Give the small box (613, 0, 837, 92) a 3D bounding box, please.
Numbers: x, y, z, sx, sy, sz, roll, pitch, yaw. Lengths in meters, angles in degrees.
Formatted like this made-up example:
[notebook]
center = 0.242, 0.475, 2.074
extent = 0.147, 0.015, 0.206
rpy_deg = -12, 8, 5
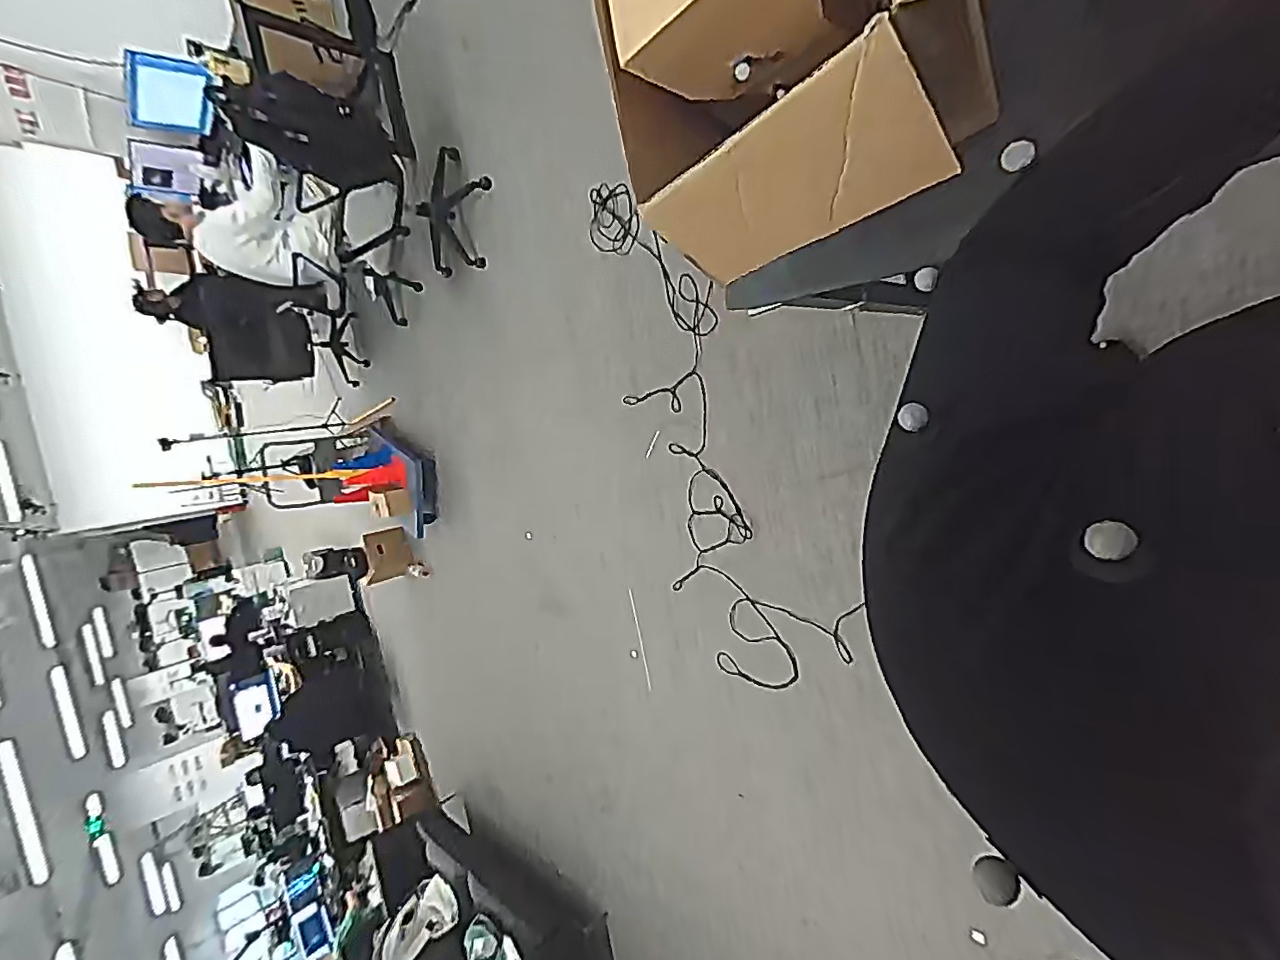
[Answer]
[small box]
center = 0.081, -0.547, 0.553
extent = 0.168, 0.176, 0.179
rpy_deg = -2, 101, 47
